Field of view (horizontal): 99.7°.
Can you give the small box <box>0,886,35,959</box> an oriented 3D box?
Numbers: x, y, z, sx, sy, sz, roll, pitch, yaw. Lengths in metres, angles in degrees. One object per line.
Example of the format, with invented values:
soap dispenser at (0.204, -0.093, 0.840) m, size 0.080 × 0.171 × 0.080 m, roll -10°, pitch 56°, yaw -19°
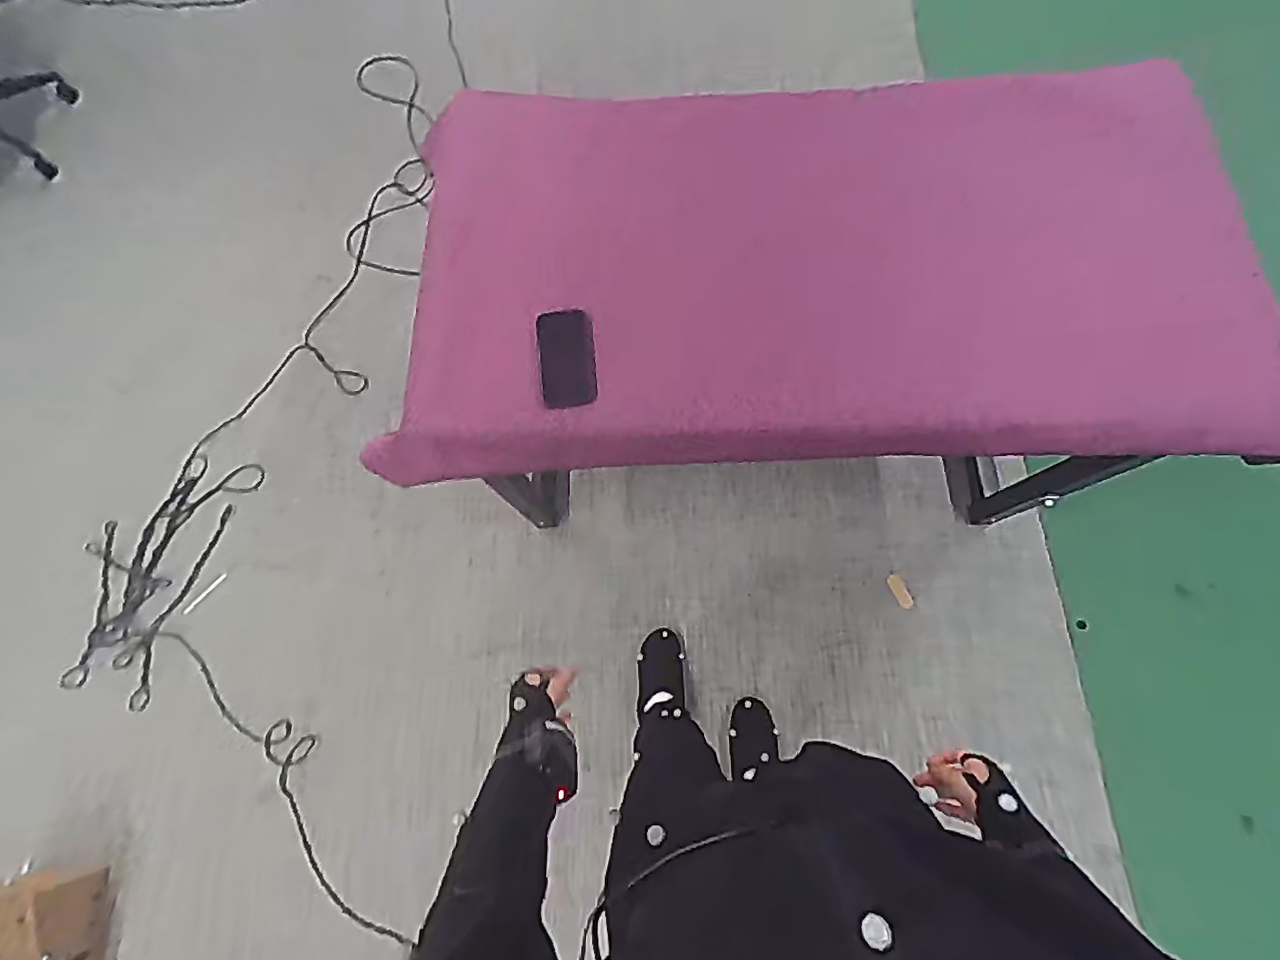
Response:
small box at (-1.310, 0.919, 1.020) m, size 0.179 × 0.176 × 0.168 m, roll -27°, pitch 73°, yaw -4°
